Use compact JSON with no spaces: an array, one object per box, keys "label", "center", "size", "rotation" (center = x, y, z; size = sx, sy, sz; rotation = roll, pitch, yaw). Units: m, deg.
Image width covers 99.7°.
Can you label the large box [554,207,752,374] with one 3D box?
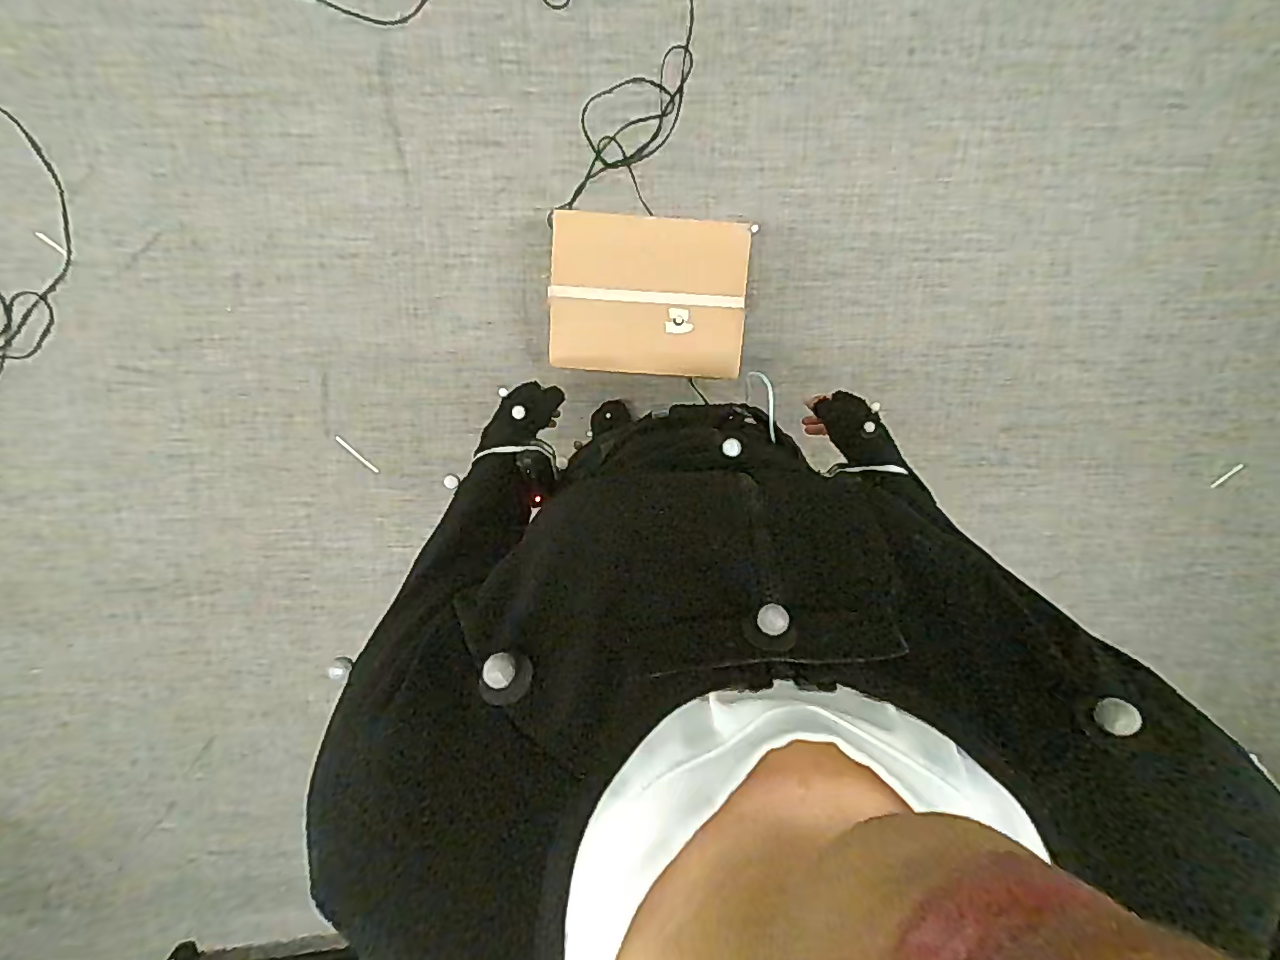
[{"label":"large box","center":[0.019,-0.414,1.259],"size":[0.408,0.320,0.320],"rotation":[3,101,-1]}]
